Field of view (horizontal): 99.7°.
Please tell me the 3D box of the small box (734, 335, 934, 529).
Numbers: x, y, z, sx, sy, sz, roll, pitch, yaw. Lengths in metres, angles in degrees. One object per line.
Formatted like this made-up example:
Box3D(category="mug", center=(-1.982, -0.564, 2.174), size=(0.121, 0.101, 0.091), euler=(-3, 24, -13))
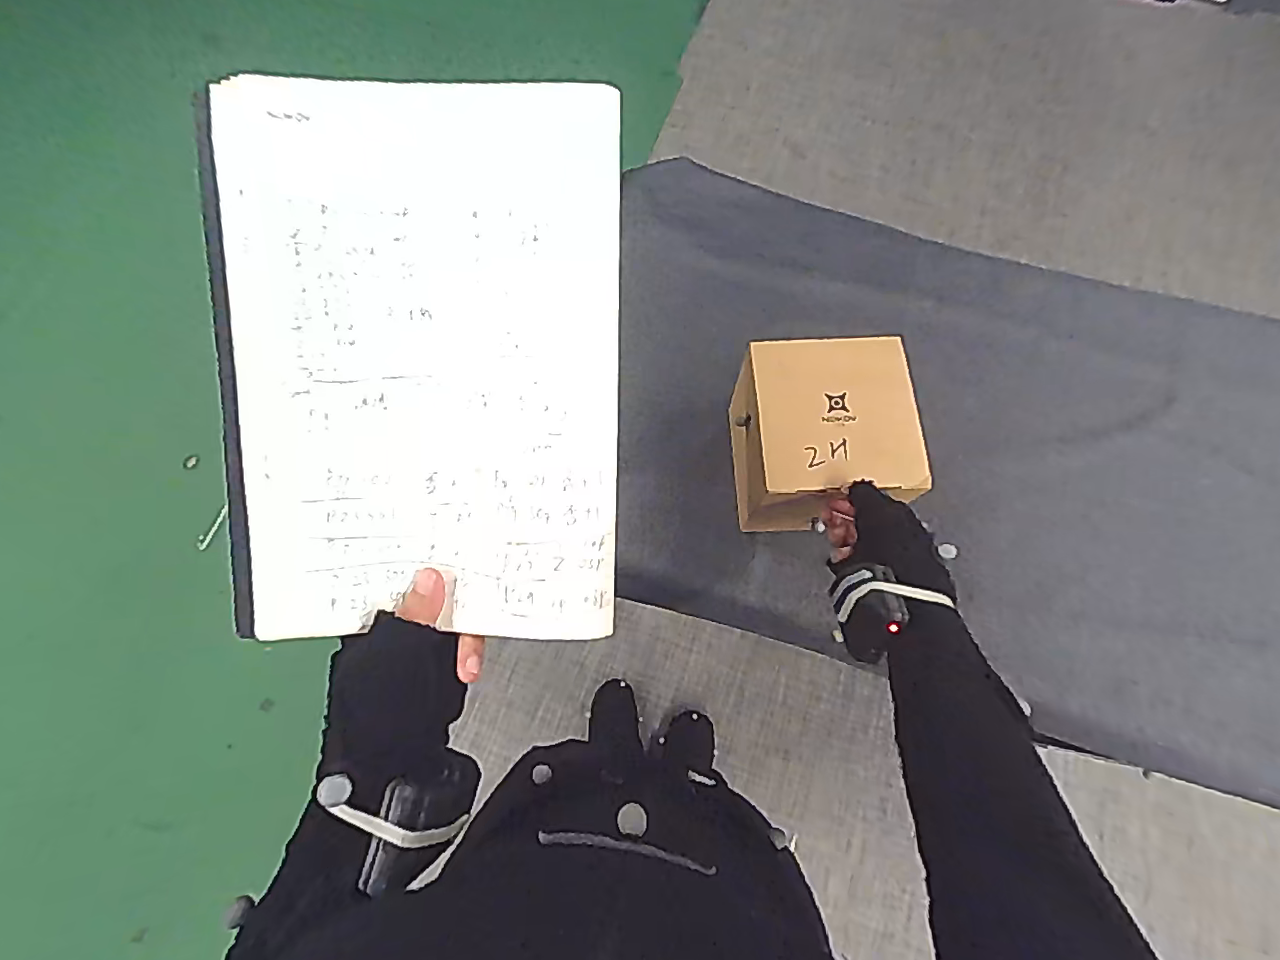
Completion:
Box3D(category="small box", center=(0.209, -0.049, 0.637), size=(0.168, 0.176, 0.179), euler=(-2, 71, 1))
